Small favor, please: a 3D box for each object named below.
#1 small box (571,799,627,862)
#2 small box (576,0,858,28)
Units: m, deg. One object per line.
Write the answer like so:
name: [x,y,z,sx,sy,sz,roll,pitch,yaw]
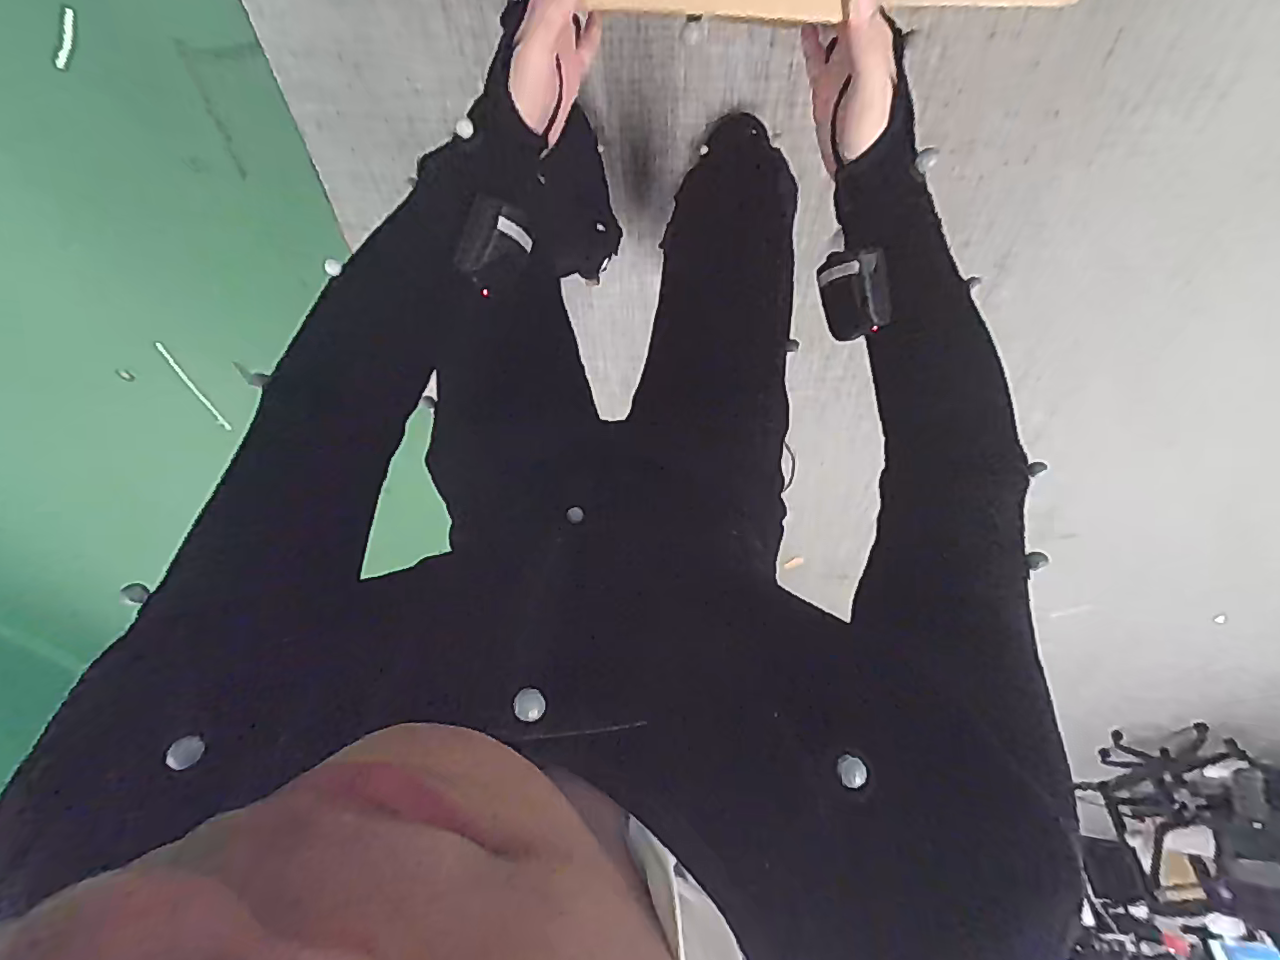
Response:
small box: [-0.142,1.221,1.876,0.179,0.176,0.168,7,140,0]
small box: [0.056,-0.403,0.343,0.179,0.176,0.168,6,131,2]
